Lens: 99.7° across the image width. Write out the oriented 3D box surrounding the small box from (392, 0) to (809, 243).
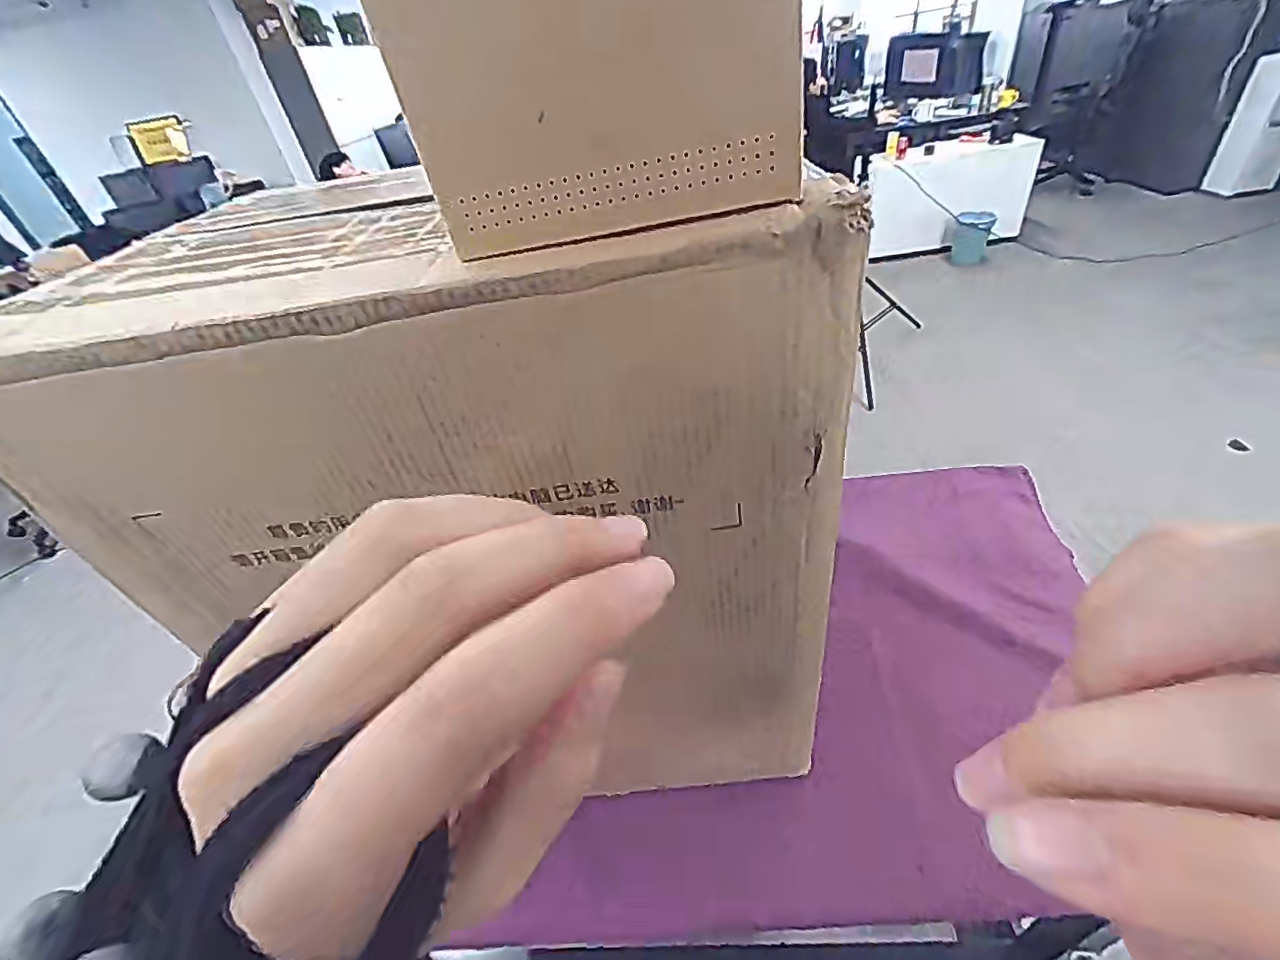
[{"bbox_3d":[-0.017,-0.236,0.275,0.179,0.176,0.168,-7,40,6],"label":"small box"}]
